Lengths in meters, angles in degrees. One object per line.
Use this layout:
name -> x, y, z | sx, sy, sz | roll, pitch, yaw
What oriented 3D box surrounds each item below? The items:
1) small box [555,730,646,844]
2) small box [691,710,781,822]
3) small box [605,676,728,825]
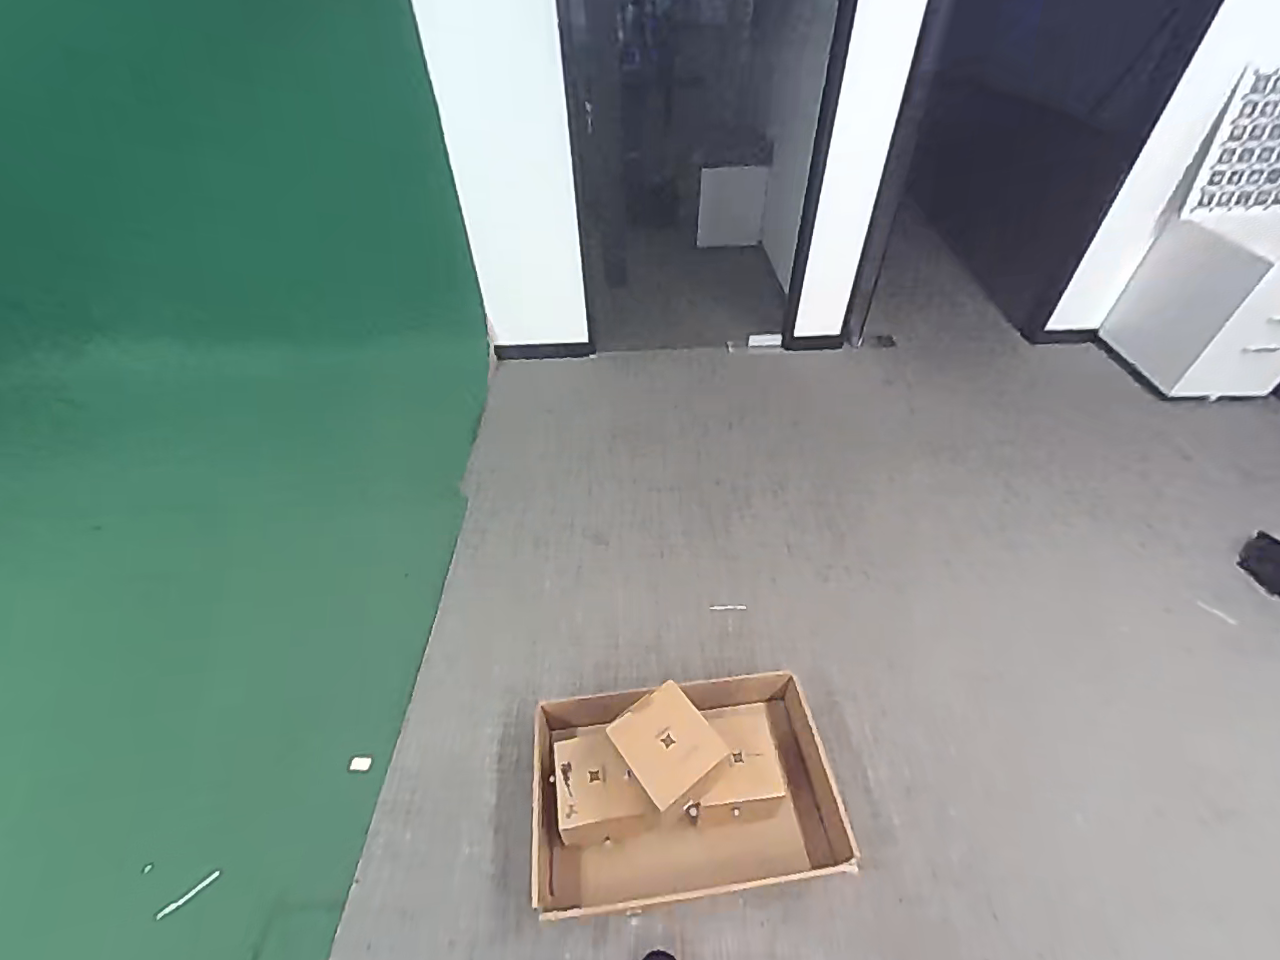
small box -> -0.086, 0.657, 1.165 | 0.179, 0.176, 0.168 | -6, 44, -8
small box -> 0.193, 0.629, 1.186 | 0.179, 0.176, 0.168 | -5, 45, -3
small box -> 0.048, 0.532, 1.061 | 0.168, 0.176, 0.179 | -29, 52, -25
